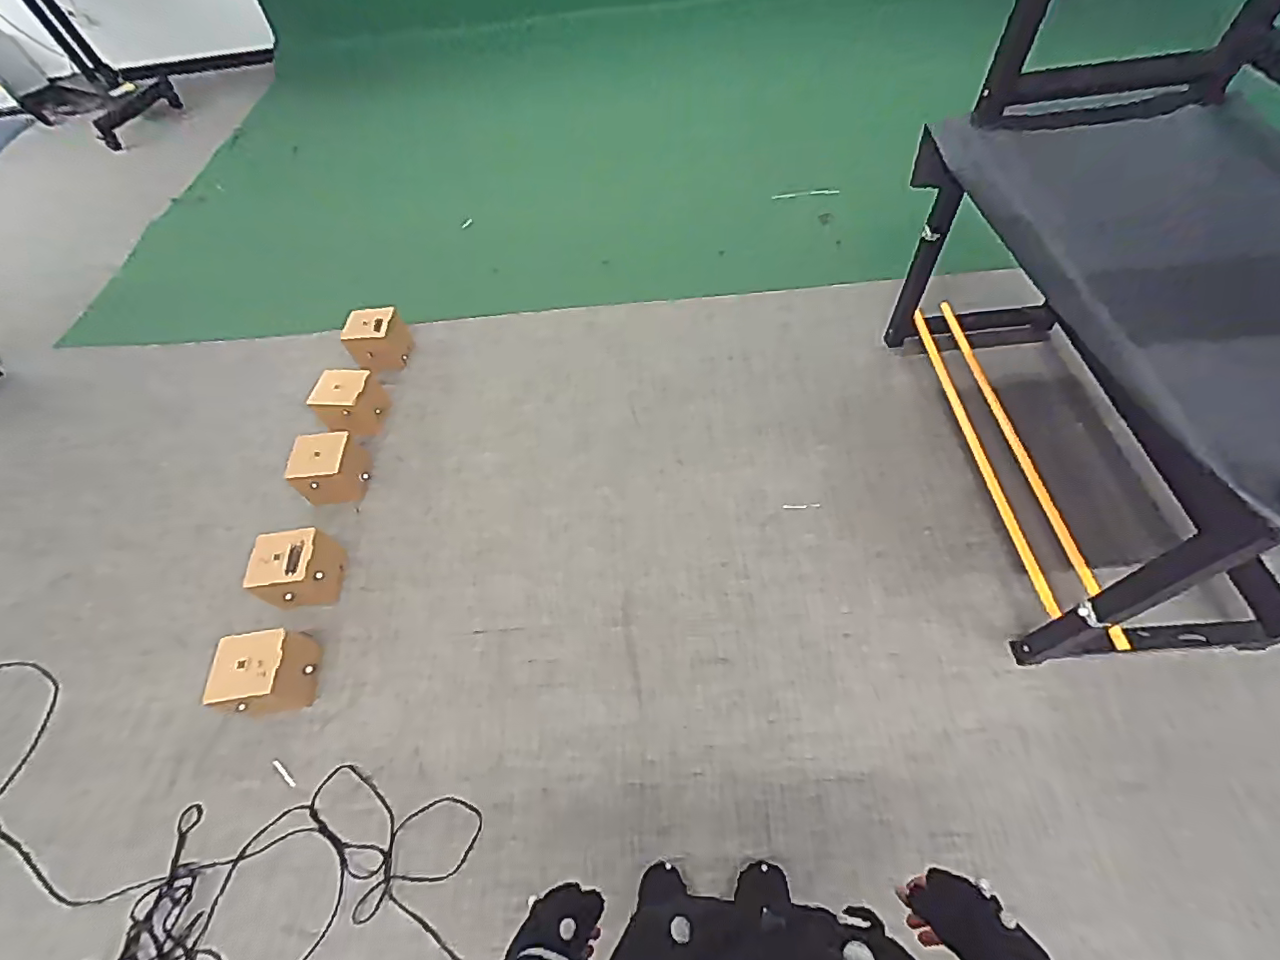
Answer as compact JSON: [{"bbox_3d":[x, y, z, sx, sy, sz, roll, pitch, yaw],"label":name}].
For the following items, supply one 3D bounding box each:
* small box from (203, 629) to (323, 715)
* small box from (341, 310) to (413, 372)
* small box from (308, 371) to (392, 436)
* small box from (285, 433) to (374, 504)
[{"bbox_3d":[-0.974,0.505,1.414,0.179,0.176,0.168,-9,57,0],"label":"small box"},{"bbox_3d":[-1.014,-0.538,2.104,0.179,0.176,0.168,-3,56,5],"label":"small box"},{"bbox_3d":[-1.027,-0.270,1.930,0.179,0.176,0.168,2,57,6],"label":"small box"},{"bbox_3d":[-1.009,-0.034,1.771,0.179,0.176,0.168,-5,58,0],"label":"small box"}]
